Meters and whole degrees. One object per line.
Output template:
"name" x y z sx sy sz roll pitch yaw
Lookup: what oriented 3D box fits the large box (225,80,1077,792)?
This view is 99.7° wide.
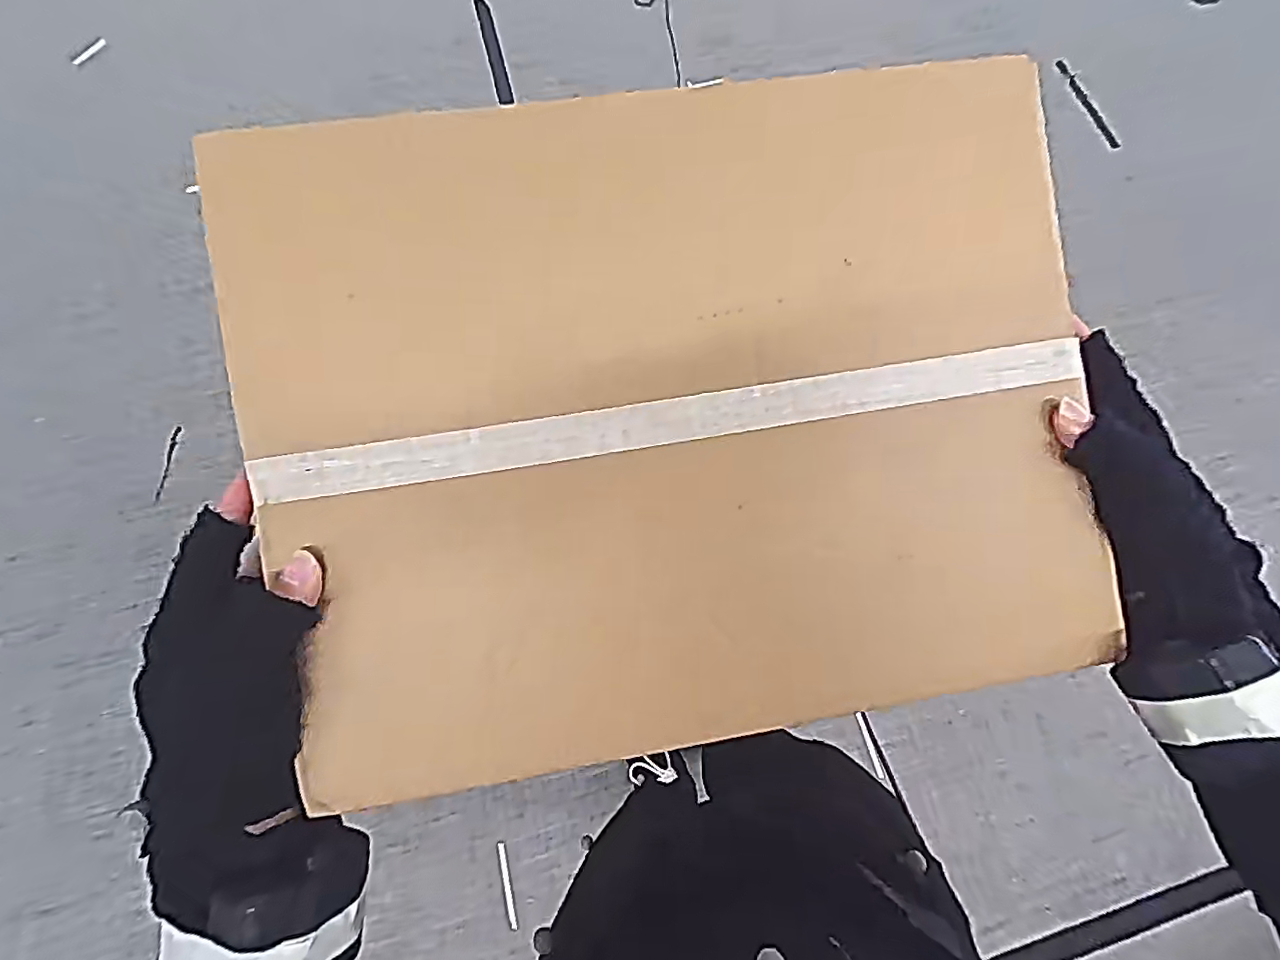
"large box" 0.009 -0.032 0.422 0.408 0.320 0.320 -9 90 -5
